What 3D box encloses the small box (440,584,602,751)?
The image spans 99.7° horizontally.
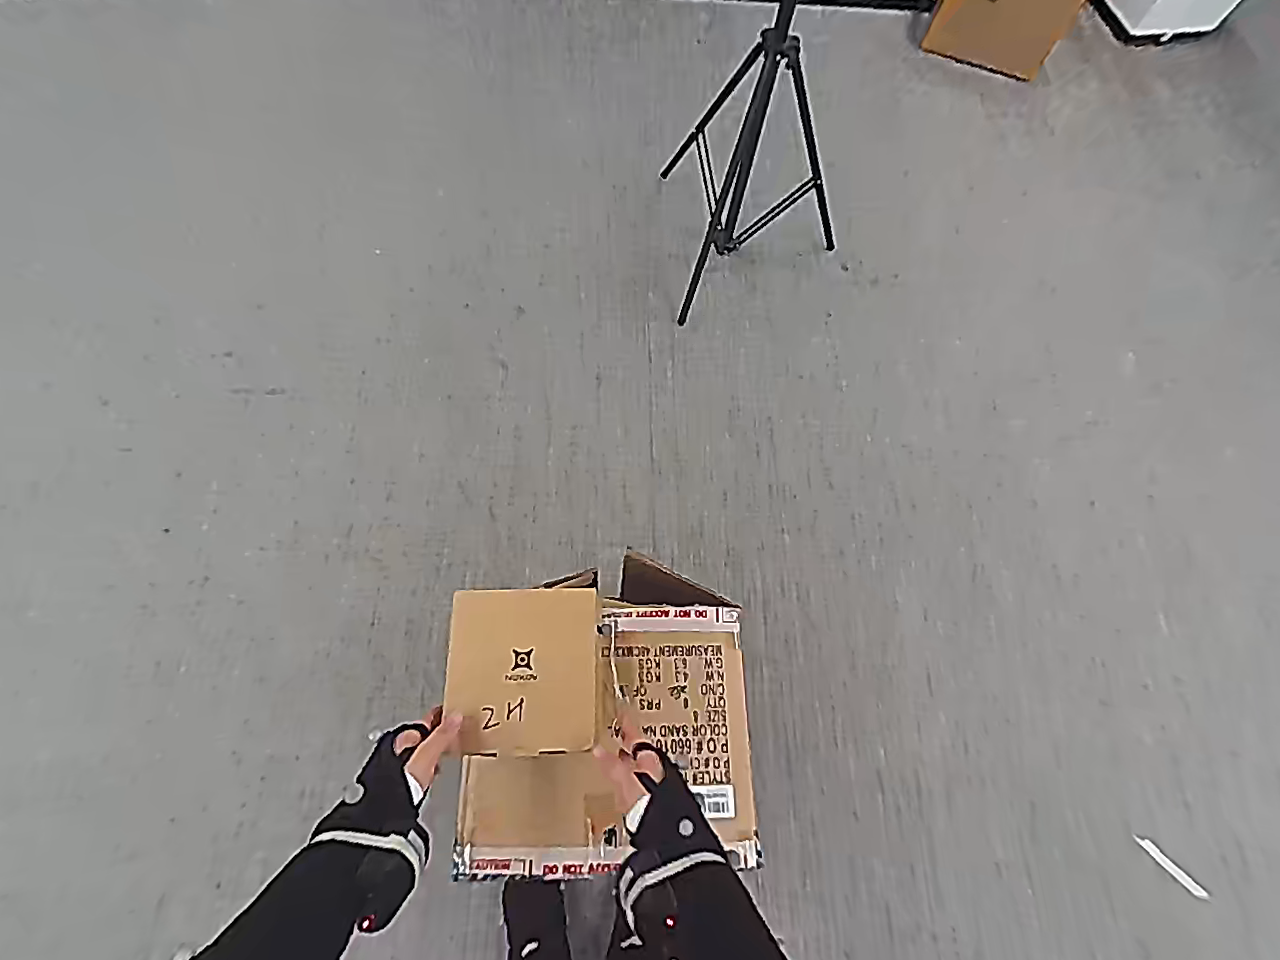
[{"bbox_3d":[-0.134,0.231,0.675,0.168,0.176,0.179,-1,71,-2],"label":"small box"}]
